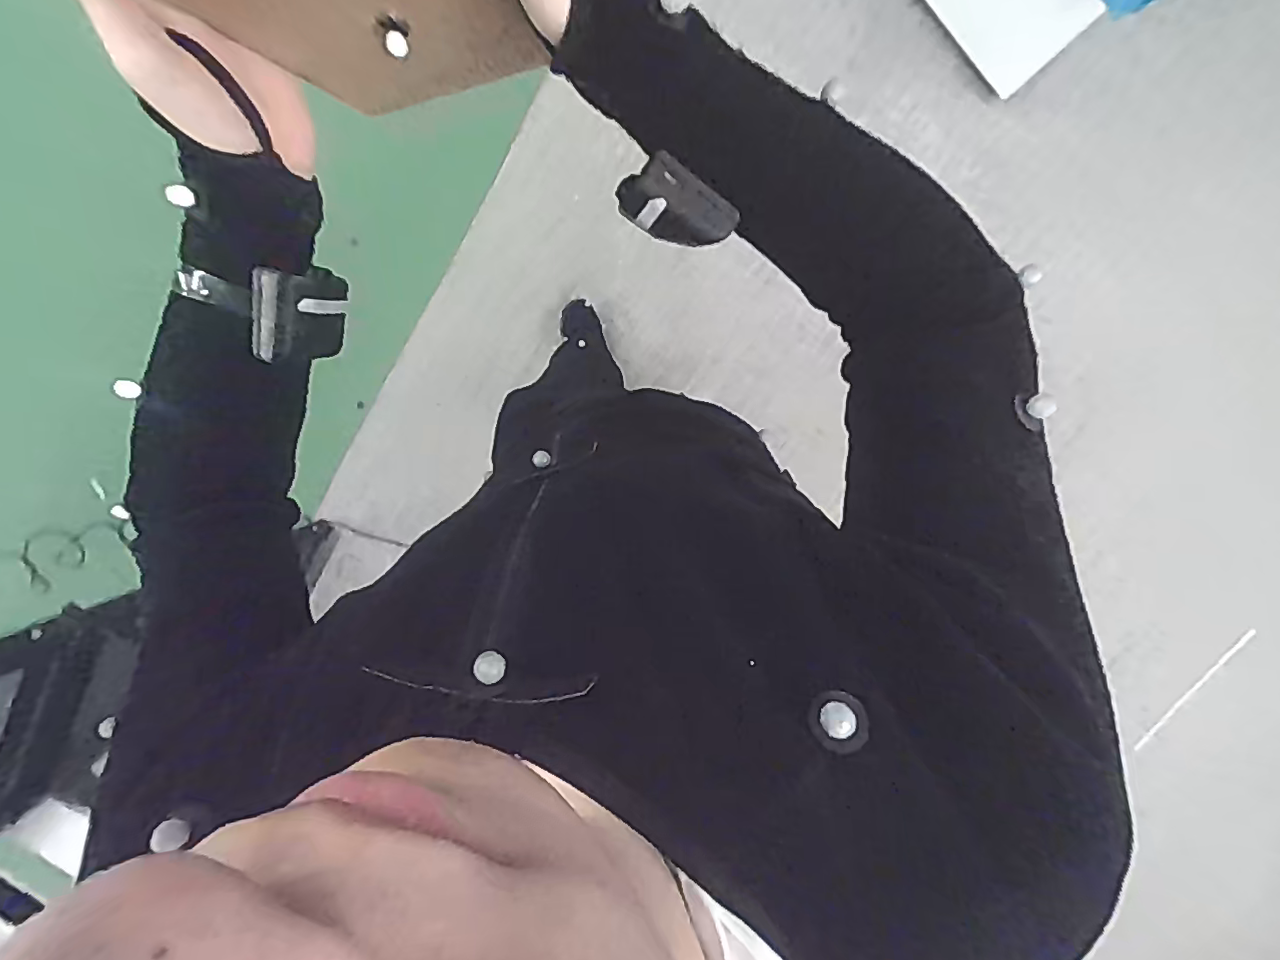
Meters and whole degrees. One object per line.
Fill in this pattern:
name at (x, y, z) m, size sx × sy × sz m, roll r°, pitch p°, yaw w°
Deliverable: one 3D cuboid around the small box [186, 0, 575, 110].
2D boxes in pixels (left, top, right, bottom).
small box at (-0.144, -0.344, 0.301) m, size 0.179 × 0.176 × 0.168 m, roll -8°, pitch 105°, yaw 11°
